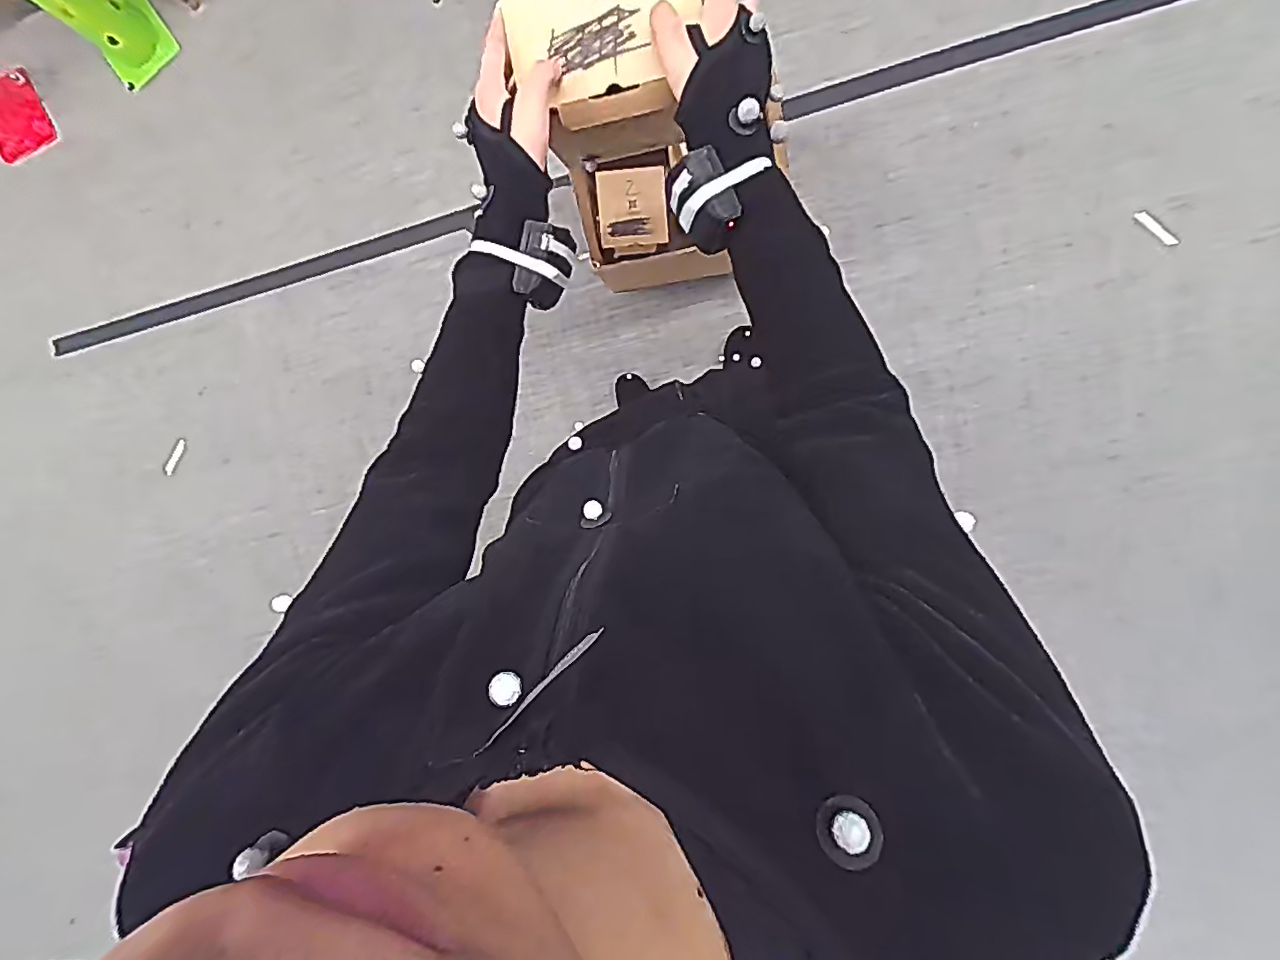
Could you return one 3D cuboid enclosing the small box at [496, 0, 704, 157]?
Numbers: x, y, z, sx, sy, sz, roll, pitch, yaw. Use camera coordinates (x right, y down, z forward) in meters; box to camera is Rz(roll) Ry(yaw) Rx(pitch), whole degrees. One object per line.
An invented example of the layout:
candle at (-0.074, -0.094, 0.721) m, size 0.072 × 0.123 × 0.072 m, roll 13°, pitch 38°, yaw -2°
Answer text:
small box at (-0.031, -0.434, 0.516) m, size 0.168 × 0.176 × 0.179 m, roll -8°, pitch 104°, yaw 9°
